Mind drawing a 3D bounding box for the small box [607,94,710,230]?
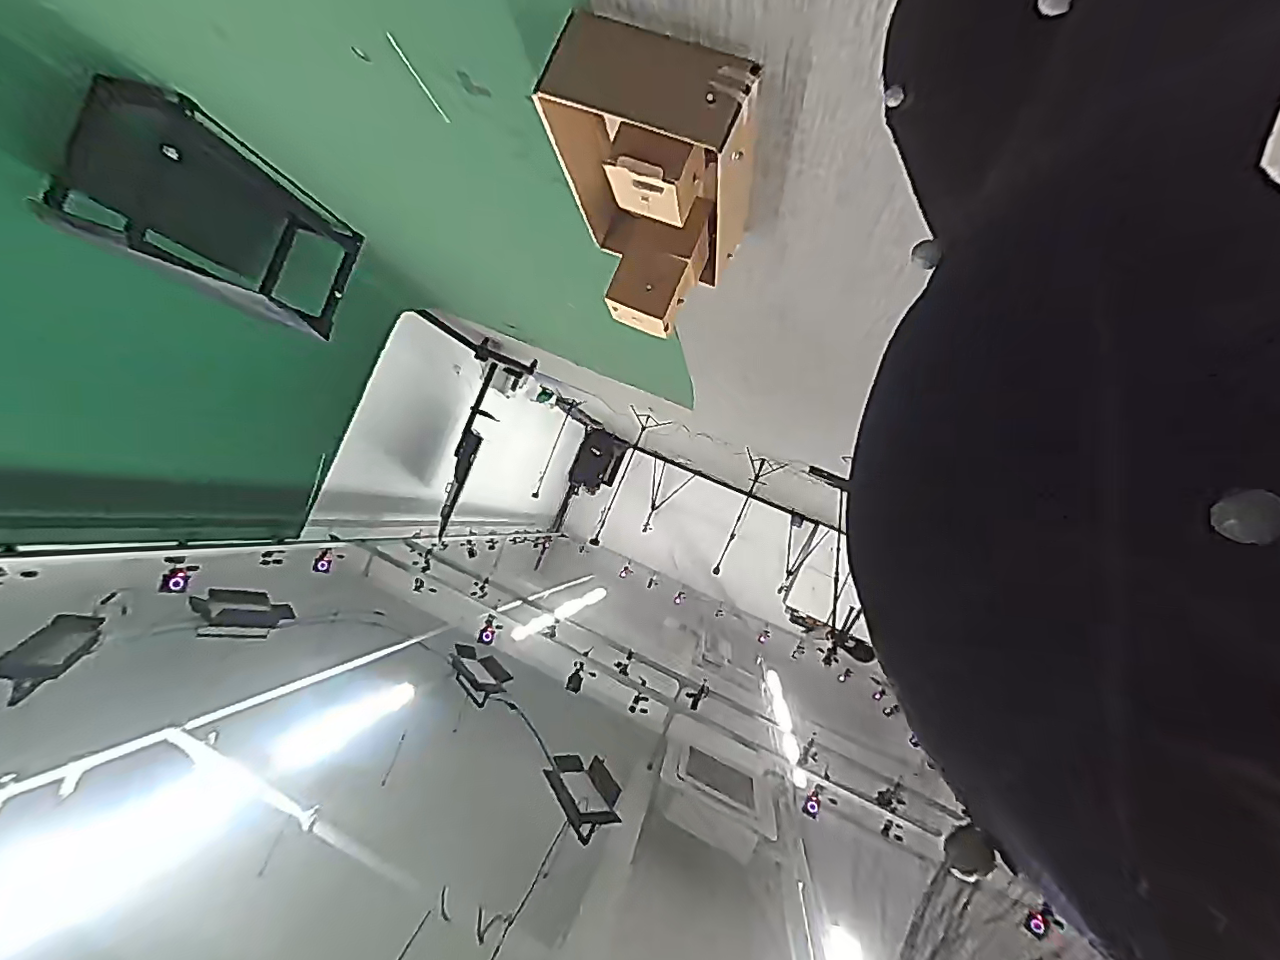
[{"bbox_3d":[0.046,-0.688,1.176,0.168,0.176,0.179,23,180,9],"label":"small box"}]

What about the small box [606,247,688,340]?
[{"bbox_3d":[0.027,-0.514,1.495,0.179,0.176,0.168,22,179,7],"label":"small box"}]
